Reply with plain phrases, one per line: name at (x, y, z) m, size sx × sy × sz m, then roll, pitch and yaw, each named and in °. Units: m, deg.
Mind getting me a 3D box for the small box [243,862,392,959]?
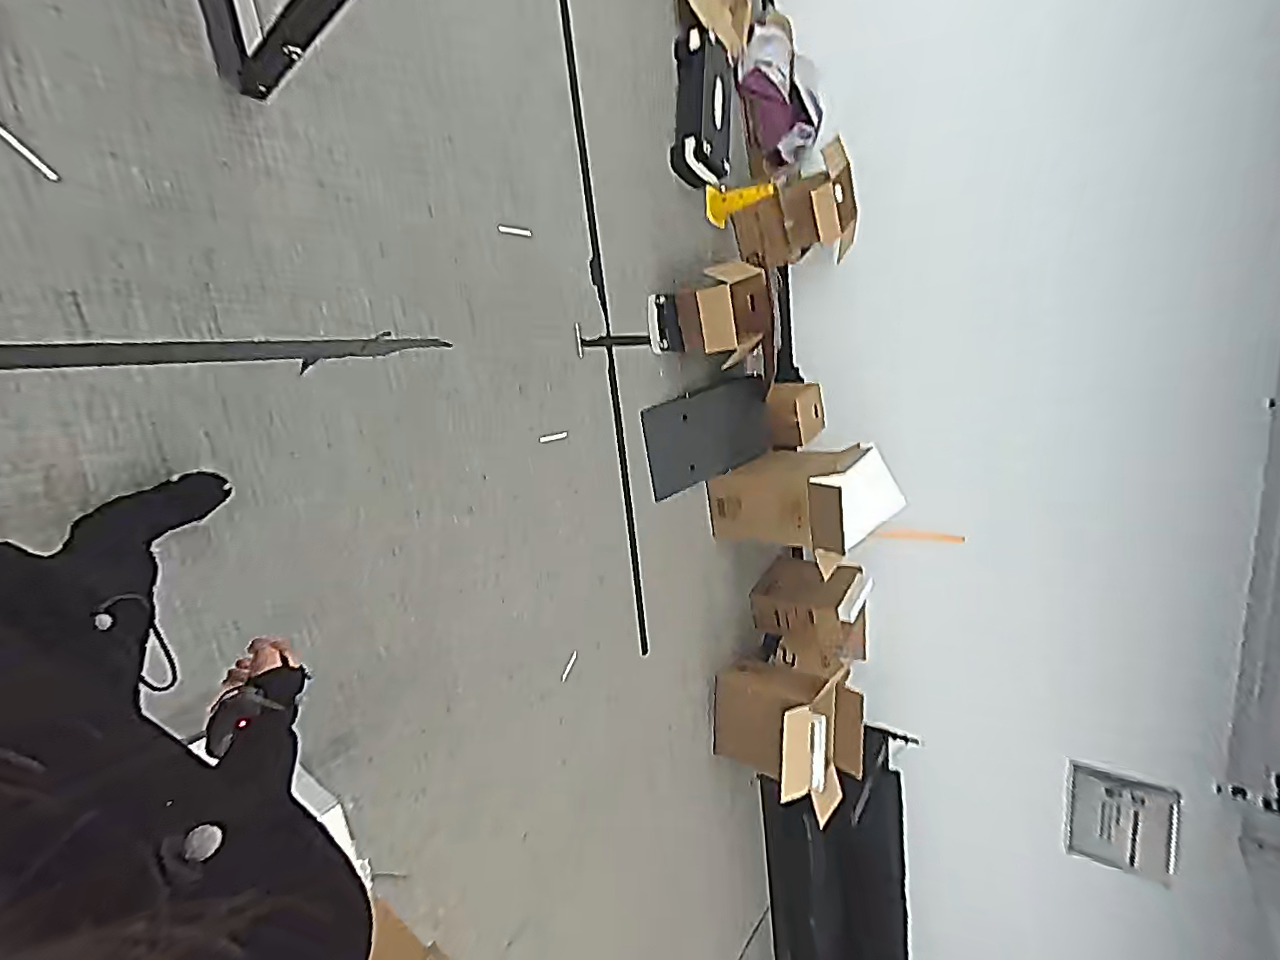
small box at (-0.579, 0.836, 0.972) m, size 0.168 × 0.176 × 0.179 m, roll -21°, pitch 109°, yaw -49°
